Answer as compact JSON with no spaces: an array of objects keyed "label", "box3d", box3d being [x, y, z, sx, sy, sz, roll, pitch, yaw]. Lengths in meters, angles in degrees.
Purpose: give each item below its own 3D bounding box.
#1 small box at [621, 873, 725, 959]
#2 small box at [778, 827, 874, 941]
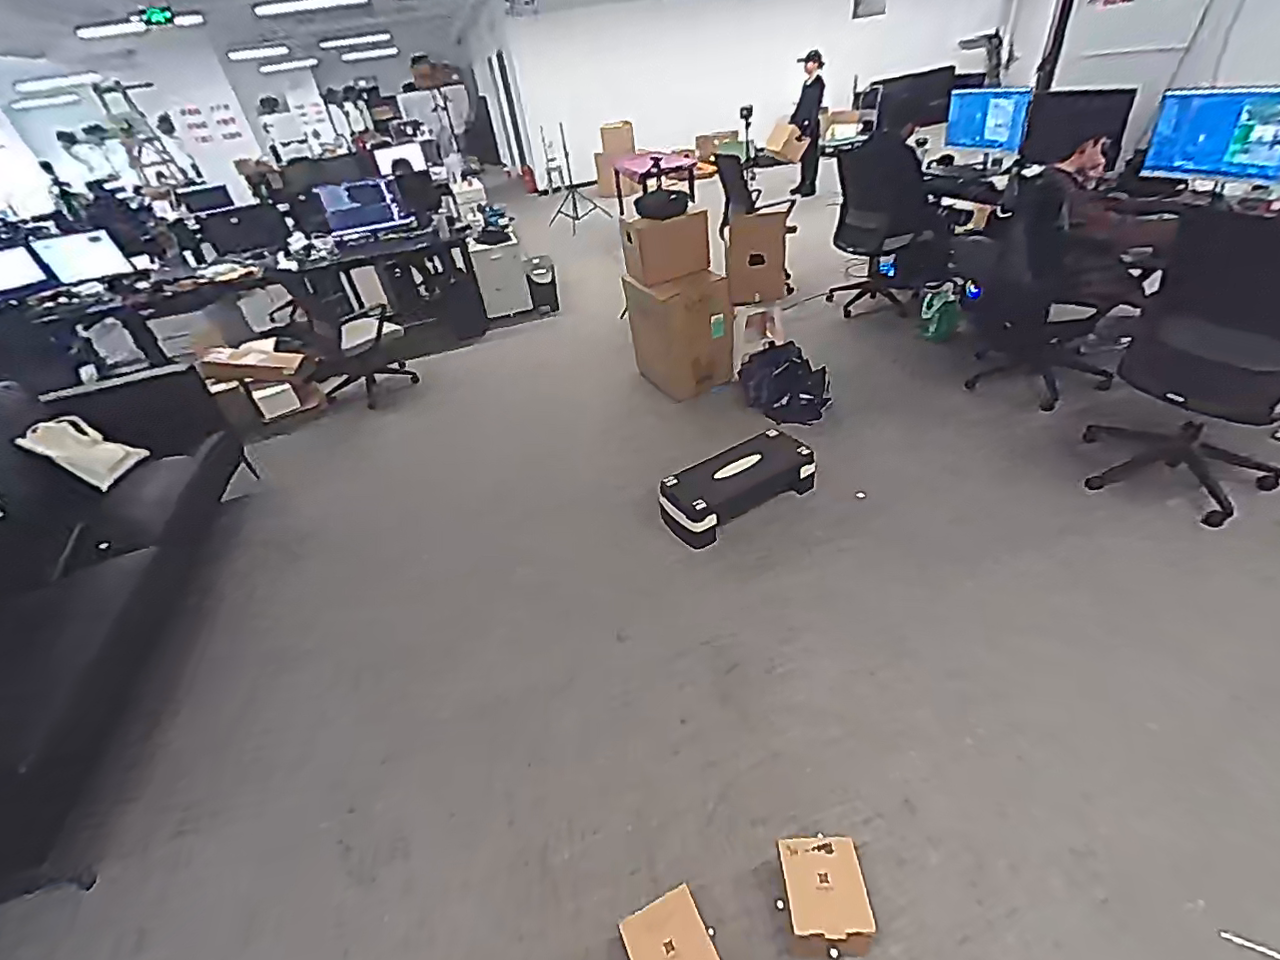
[{"label":"small box","box3d":[0.076,1.008,1.167,0.168,0.176,0.179,-21,38,-16]},{"label":"small box","box3d":[0.409,0.910,1.213,0.168,0.176,0.179,-6,38,6]}]
